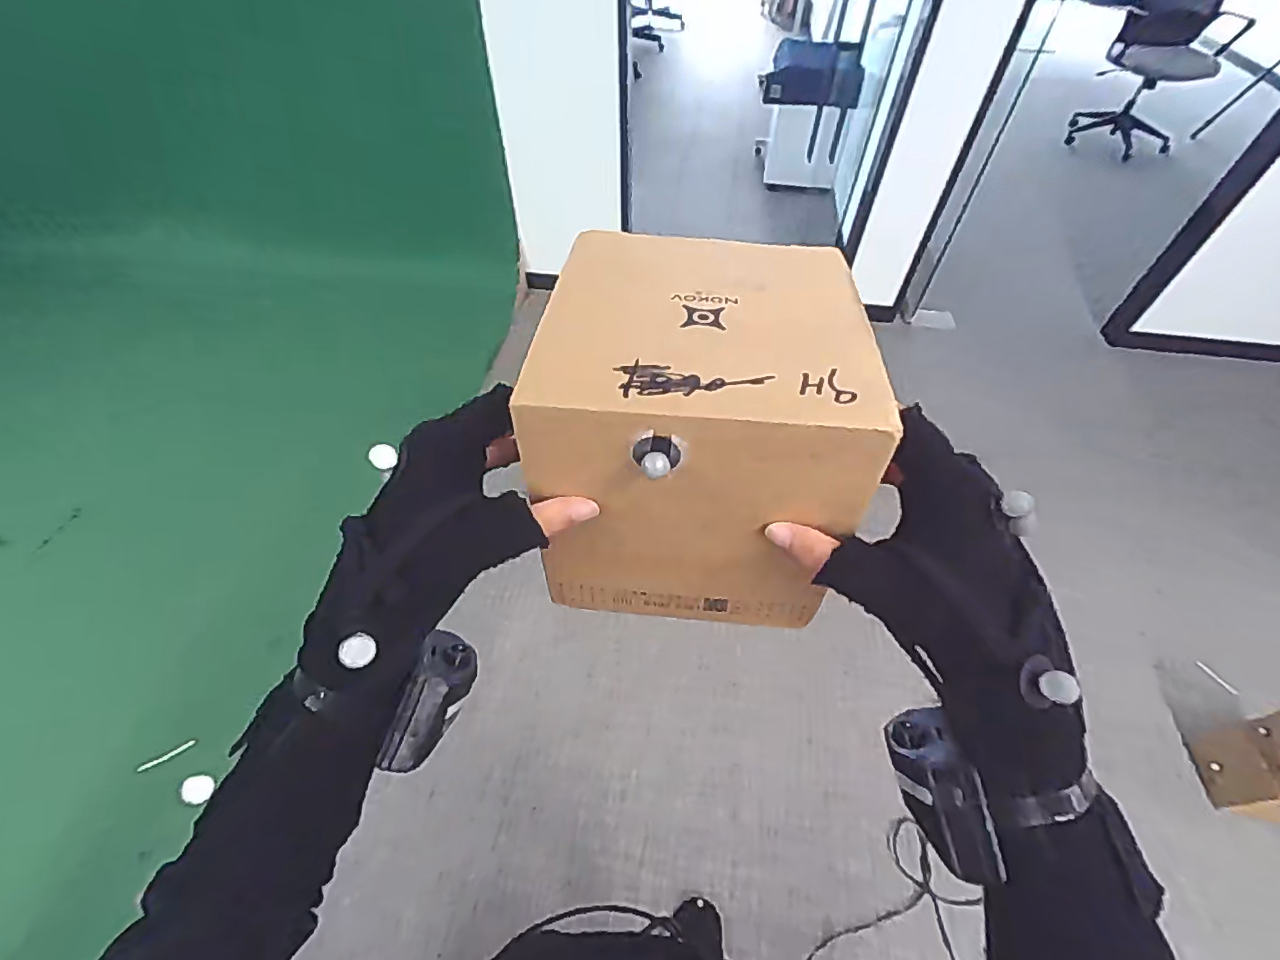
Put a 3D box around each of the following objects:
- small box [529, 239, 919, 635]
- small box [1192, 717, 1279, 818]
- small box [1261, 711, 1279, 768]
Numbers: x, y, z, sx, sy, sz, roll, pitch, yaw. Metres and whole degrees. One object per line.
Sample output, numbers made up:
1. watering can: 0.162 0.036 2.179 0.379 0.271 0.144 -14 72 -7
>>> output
1. small box: 0.041 -0.029 0.338 0.168 0.176 0.179 4 46 4
2. small box: 1.454 0.665 1.240 0.179 0.176 0.168 8 51 6
3. small box: 1.462 0.565 1.110 0.179 0.176 0.168 7 52 4
